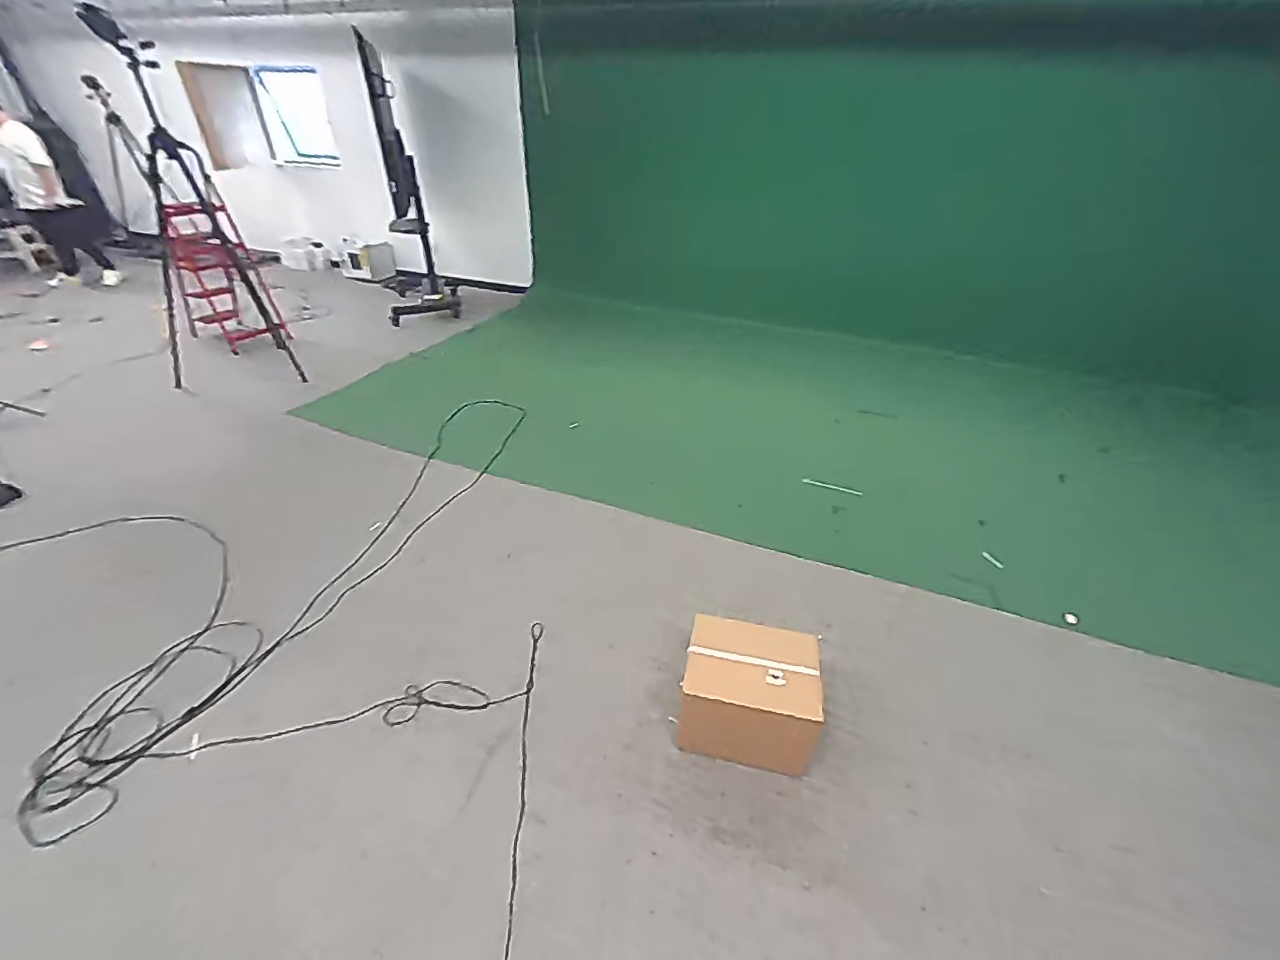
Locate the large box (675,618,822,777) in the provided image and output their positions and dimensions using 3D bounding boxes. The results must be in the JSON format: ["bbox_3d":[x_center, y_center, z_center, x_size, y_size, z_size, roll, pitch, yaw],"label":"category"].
[{"bbox_3d":[0.340,0.694,1.747,0.408,0.320,0.320,9,35,9],"label":"large box"}]
